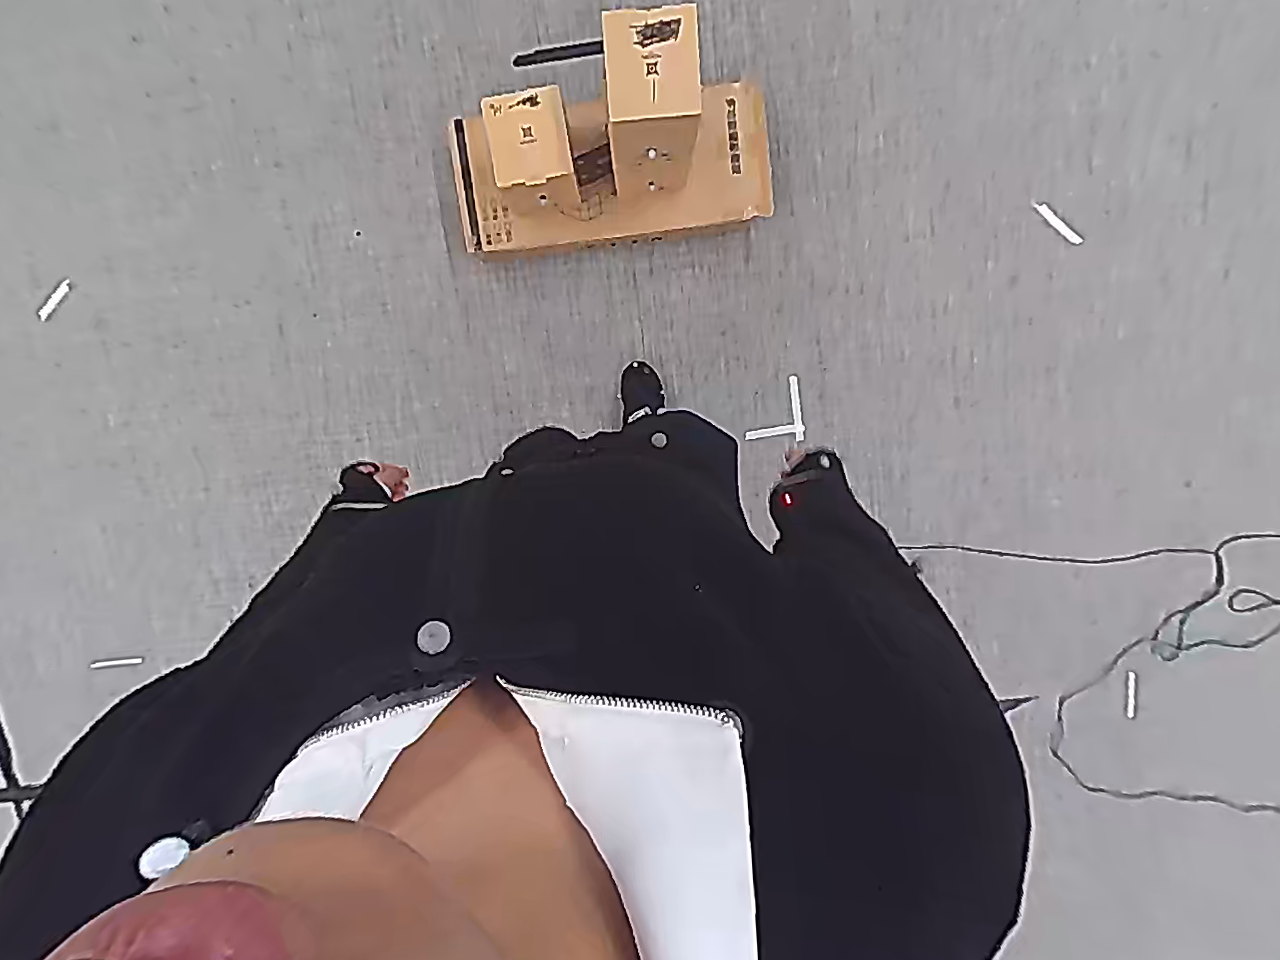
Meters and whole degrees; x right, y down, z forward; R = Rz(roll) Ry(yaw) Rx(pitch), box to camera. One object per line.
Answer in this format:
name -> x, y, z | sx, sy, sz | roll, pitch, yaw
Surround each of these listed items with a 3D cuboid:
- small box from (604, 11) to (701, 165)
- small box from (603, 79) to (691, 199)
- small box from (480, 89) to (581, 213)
small box -> 0.022, -0.725, 1.017 | 0.168, 0.176, 0.179 | -4, 98, 1
small box -> 0.014, -0.745, 1.180 | 0.168, 0.176, 0.179 | -7, 98, 2
small box -> -0.231, -0.707, 1.186 | 0.168, 0.176, 0.179 | -9, 99, 2
